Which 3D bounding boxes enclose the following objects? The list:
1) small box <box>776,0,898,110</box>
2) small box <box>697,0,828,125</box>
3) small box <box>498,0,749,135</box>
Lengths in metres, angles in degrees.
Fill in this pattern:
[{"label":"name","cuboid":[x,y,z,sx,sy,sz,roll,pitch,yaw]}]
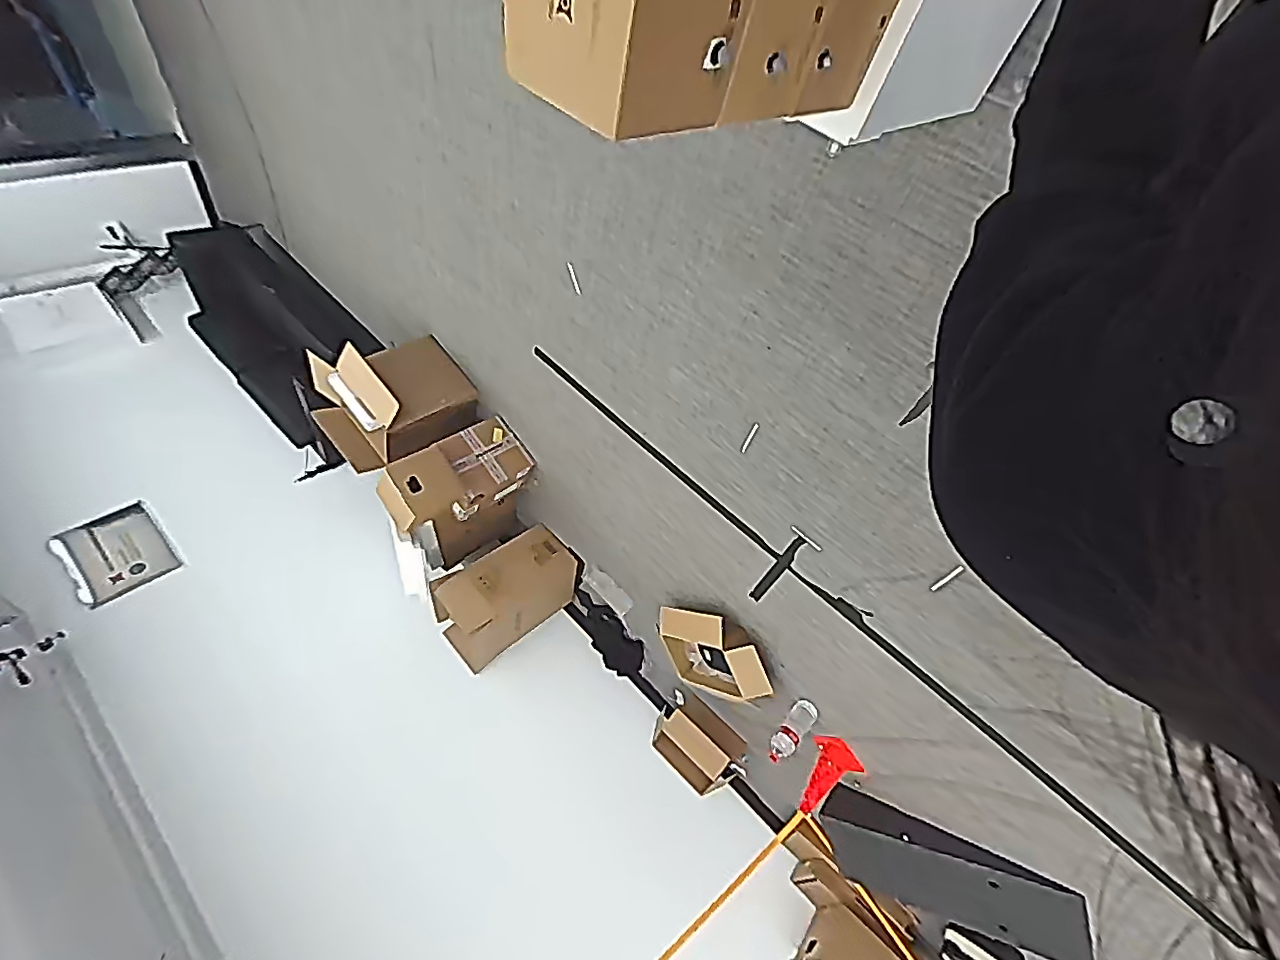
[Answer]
[{"label":"small box","cuboid":[0.205,-0.612,0.703,0.179,0.176,0.168,44,145,19]},{"label":"small box","cuboid":[0.096,-0.536,0.610,0.179,0.176,0.168,42,144,19]},{"label":"small box","cuboid":[-0.015,-0.462,0.518,0.179,0.176,0.168,41,144,19]}]
